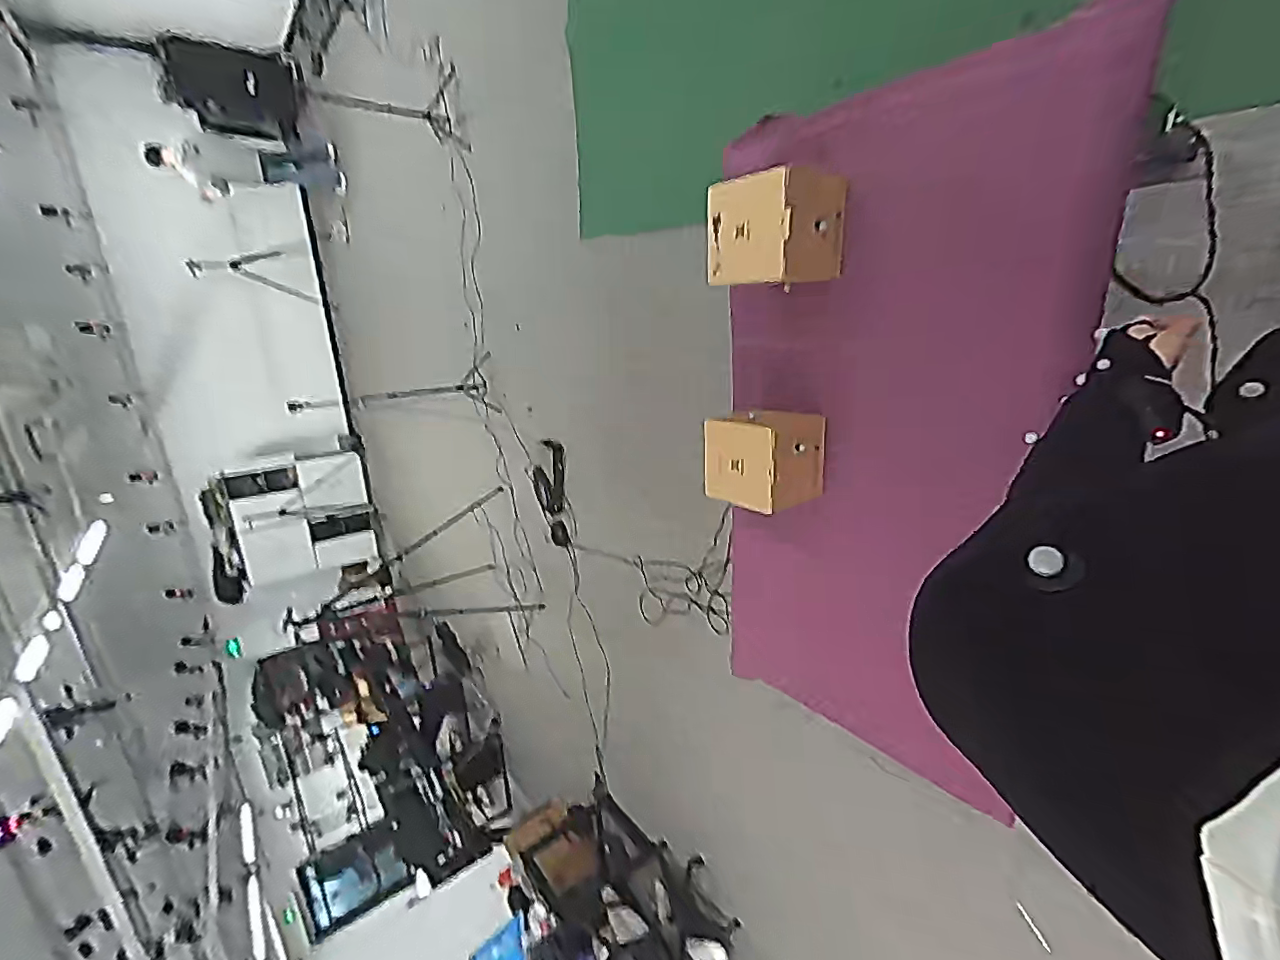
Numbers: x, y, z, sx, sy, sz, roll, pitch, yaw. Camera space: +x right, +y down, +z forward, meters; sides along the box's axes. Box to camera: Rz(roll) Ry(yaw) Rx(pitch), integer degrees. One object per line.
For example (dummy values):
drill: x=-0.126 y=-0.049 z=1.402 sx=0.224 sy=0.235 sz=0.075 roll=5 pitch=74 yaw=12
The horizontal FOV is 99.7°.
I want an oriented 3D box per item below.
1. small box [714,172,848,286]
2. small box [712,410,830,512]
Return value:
small box: x=0.254 y=-0.444 z=0.979 sx=0.179 sy=0.176 sz=0.168 roll=18 pitch=117 yaw=49
small box: x=0.268 y=-0.048 z=1.107 sx=0.179 sy=0.176 sz=0.168 roll=17 pitch=115 yaw=50
